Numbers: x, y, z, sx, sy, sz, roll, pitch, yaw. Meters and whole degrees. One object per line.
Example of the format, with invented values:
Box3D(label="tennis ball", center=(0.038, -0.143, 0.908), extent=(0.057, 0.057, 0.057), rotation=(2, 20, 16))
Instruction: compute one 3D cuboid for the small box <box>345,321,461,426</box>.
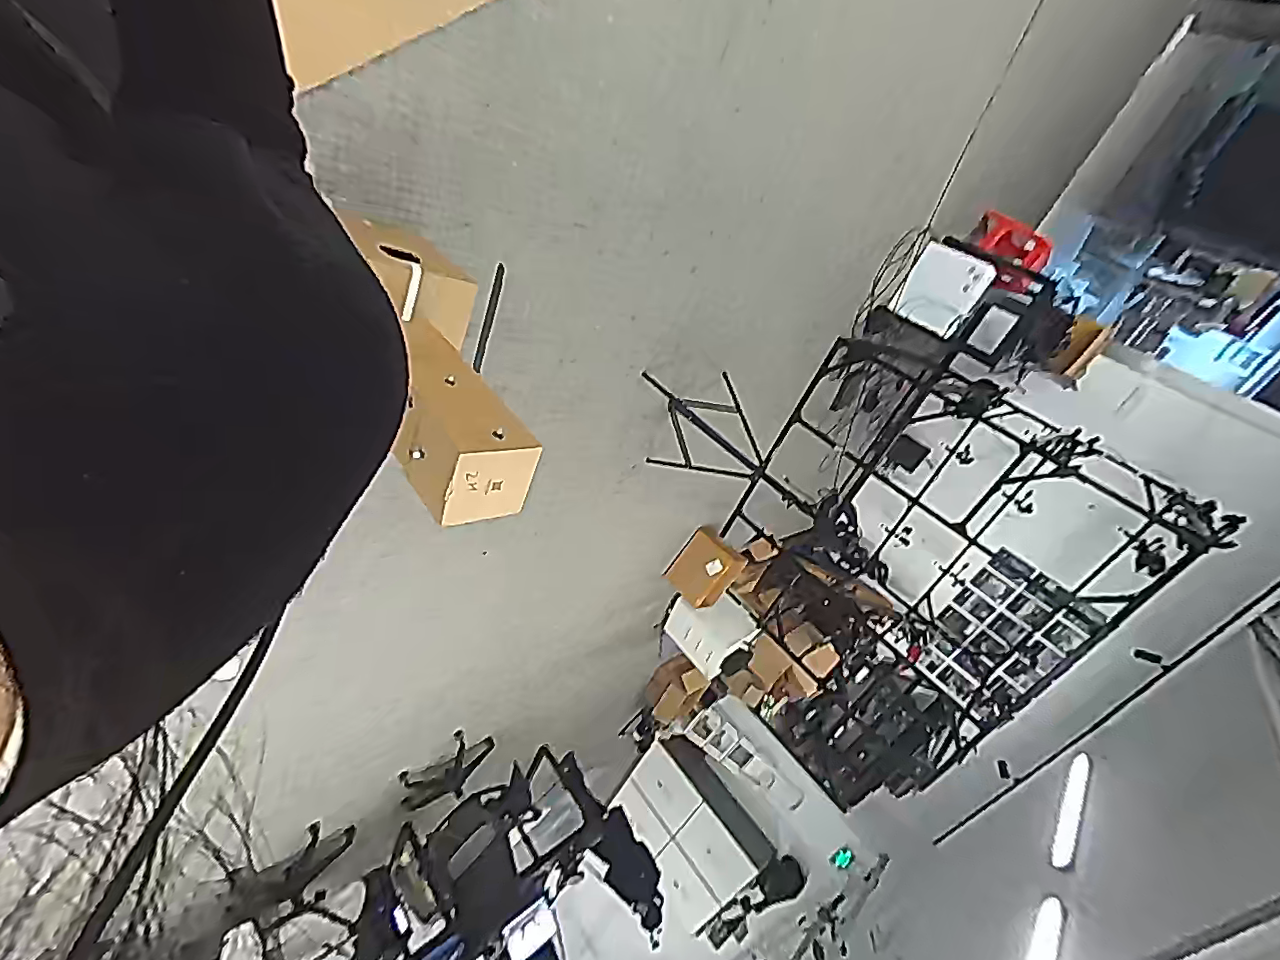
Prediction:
Box3D(label="small box", center=(-0.527, -0.237, 1.190), extent=(0.179, 0.176, 0.168), rotation=(-12, 137, -46))

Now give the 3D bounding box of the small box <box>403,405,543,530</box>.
Box3D(label="small box", center=(-0.322, -0.033, 1.032), extent=(0.179, 0.176, 0.168), rotation=(-9, 133, -47))
